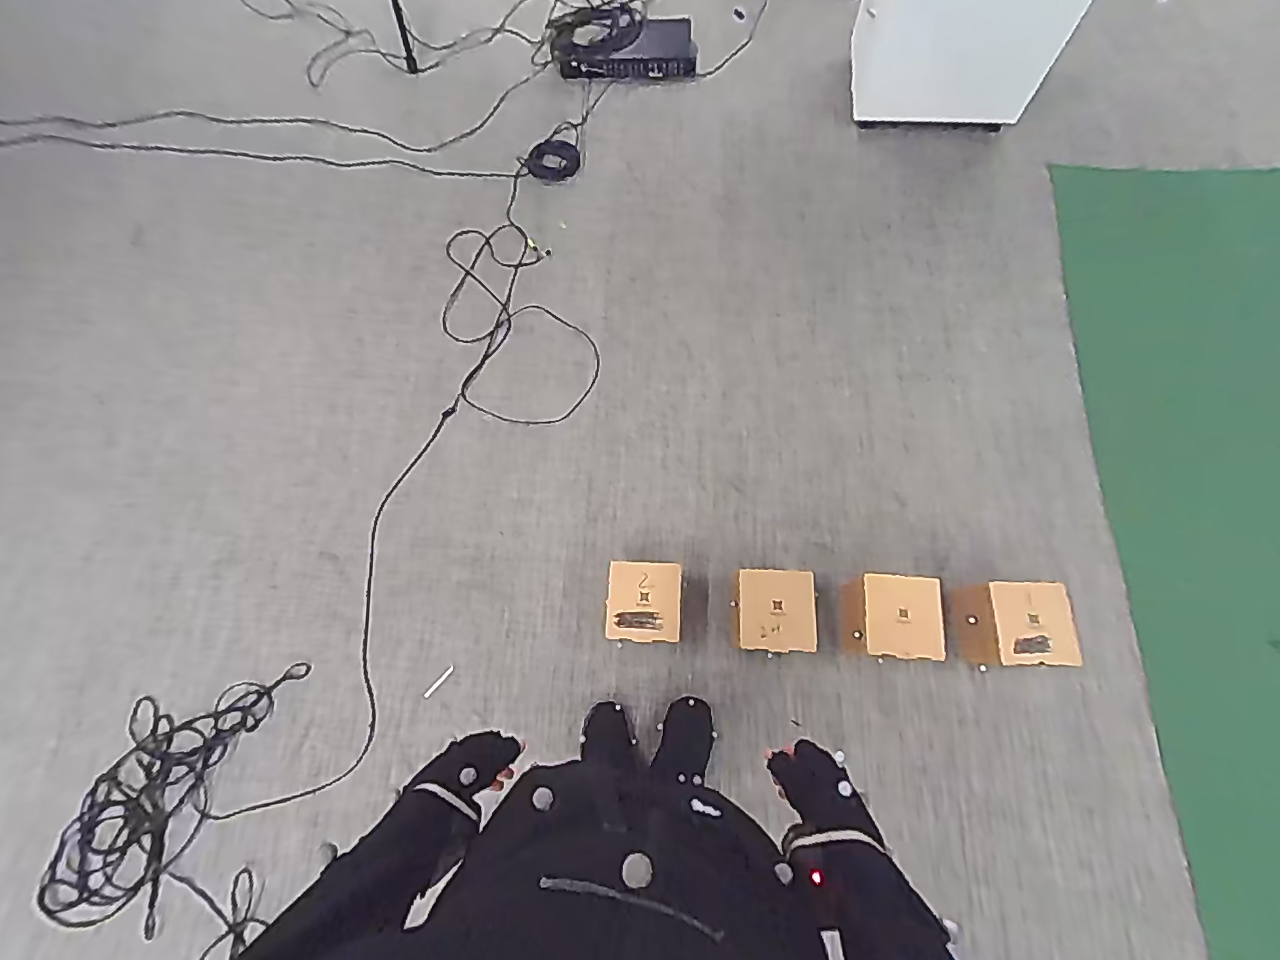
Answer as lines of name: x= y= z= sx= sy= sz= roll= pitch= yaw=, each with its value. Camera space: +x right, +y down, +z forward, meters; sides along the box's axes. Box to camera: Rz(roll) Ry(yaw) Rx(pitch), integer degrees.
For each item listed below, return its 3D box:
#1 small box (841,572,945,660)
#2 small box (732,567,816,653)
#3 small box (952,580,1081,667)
small box: x=0.571 y=0.316 z=1.243 sx=0.168 sy=0.176 sz=0.179 roll=4 pitch=72 yaw=4
small box: x=0.304 y=0.305 z=1.258 sx=0.168 sy=0.176 sz=0.179 roll=1 pitch=72 yaw=5
small box: x=0.839 y=0.327 z=1.224 sx=0.168 sy=0.176 sz=0.179 roll=1 pitch=71 yaw=3
